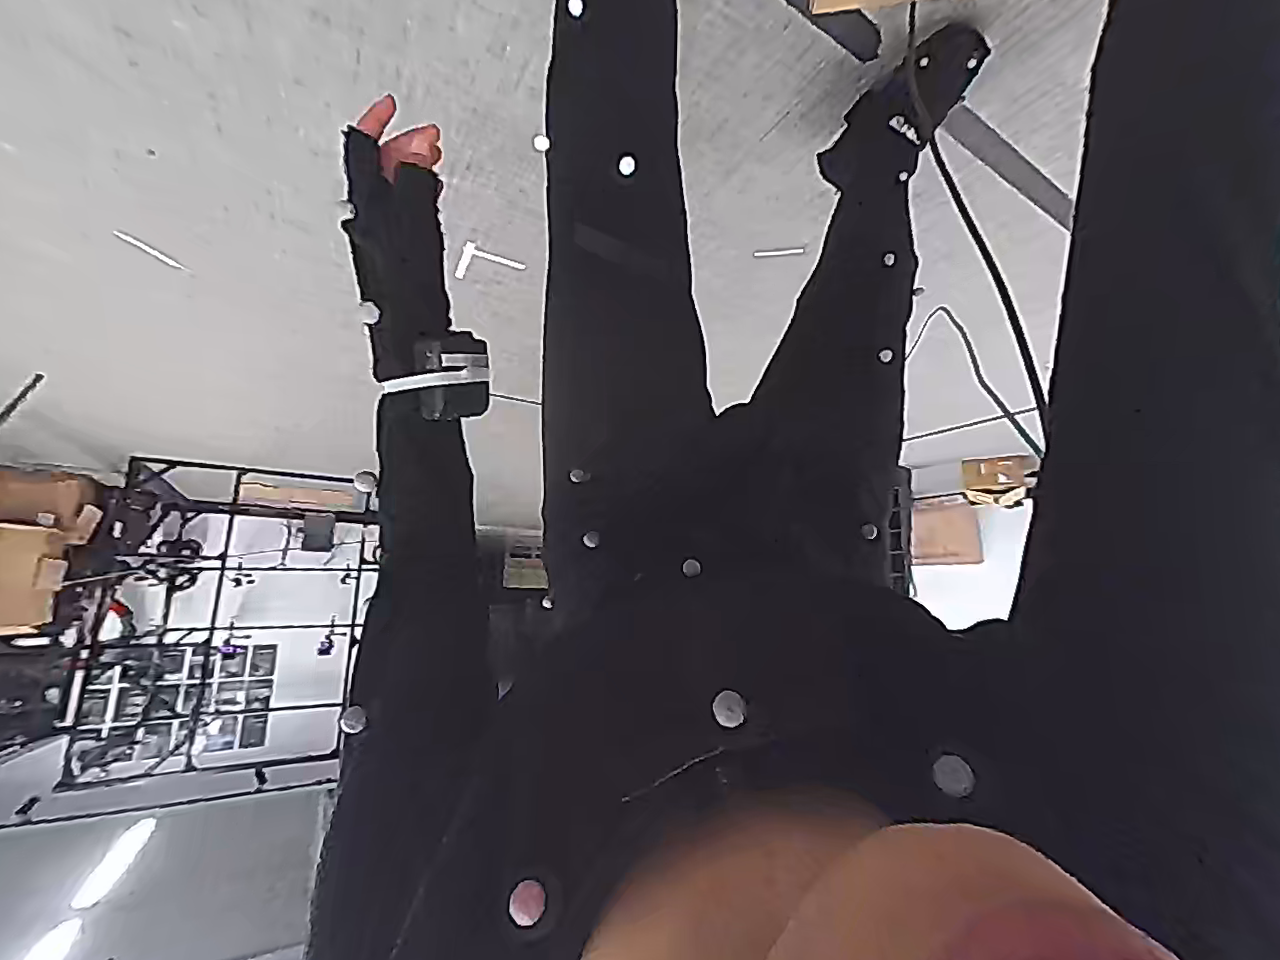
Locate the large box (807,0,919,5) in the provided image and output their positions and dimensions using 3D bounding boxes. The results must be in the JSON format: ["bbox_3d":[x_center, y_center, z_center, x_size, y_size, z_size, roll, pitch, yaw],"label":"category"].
[{"bbox_3d":[0.331,-0.597,0.348,0.408,0.320,0.320,2,175,8],"label":"large box"}]
